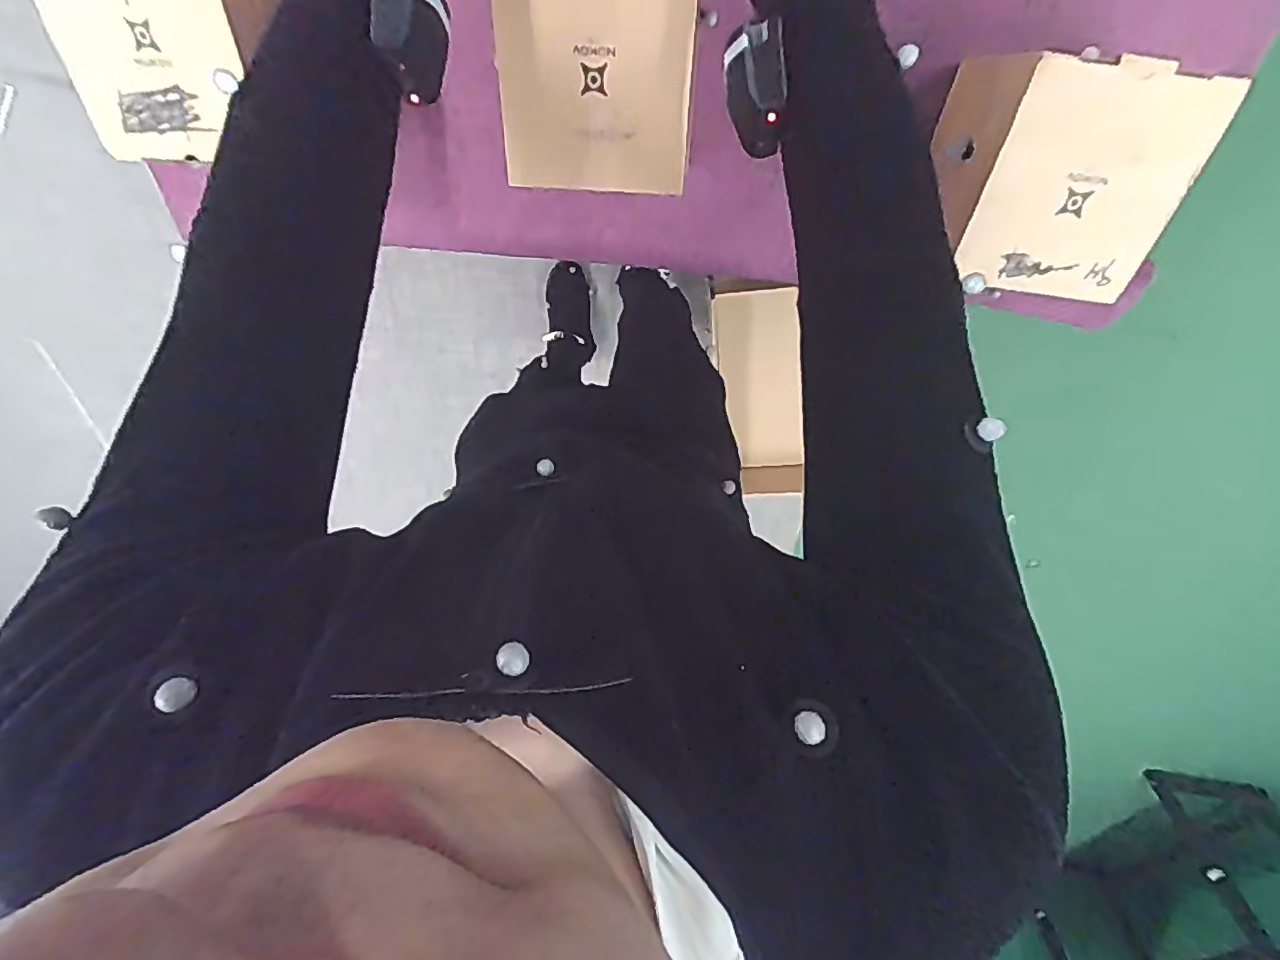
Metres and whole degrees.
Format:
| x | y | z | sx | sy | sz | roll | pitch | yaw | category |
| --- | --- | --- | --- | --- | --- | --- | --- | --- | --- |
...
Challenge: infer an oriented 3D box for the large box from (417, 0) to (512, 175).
| x | y | z | sx | sy | sz | roll | pitch | yaw | category |
| --- | --- | --- | --- | --- | --- | --- | --- | --- | --- |
| -0.203 | -0.826 | 1.030 | 0.320 | 0.320 | 0.408 | 4 | 126 | 2 | large box |

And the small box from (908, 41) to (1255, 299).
| x | y | z | sx | sy | sz | roll | pitch | yaw | category |
| --- | --- | --- | --- | --- | --- | --- | --- | --- | --- |
| 0.390 | -0.298 | 0.527 | 0.168 | 0.176 | 0.179 | 9 | 125 | 2 | small box |

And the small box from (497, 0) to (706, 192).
| x | y | z | sx | sy | sz | roll | pitch | yaw | category |
| --- | --- | --- | --- | --- | --- | --- | --- | --- | --- |
| -0.027 | -0.387 | 0.510 | 0.168 | 0.176 | 0.179 | 6 | 127 | 3 | small box |

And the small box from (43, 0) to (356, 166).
| x | y | z | sx | sy | sz | roll | pitch | yaw | category |
| --- | --- | --- | --- | --- | --- | --- | --- | --- | --- |
| -0.410 | -0.421 | 0.526 | 0.168 | 0.176 | 0.179 | 5 | 126 | 2 | small box |
